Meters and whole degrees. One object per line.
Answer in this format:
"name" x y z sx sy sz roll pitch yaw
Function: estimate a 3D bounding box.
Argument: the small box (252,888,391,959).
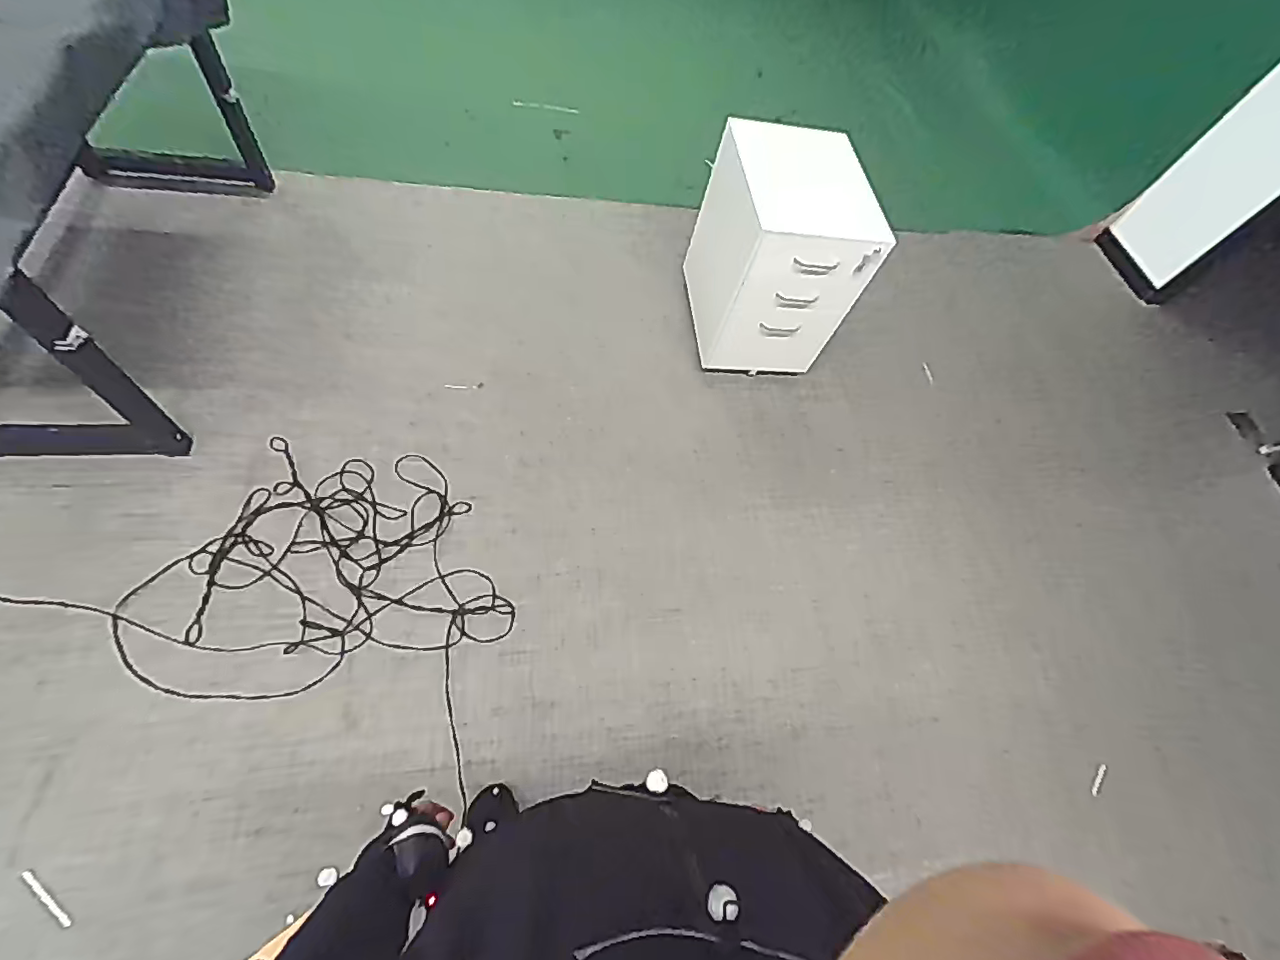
"small box" -0.571 0.869 0.952 0.179 0.176 0.168 -33 72 -27
